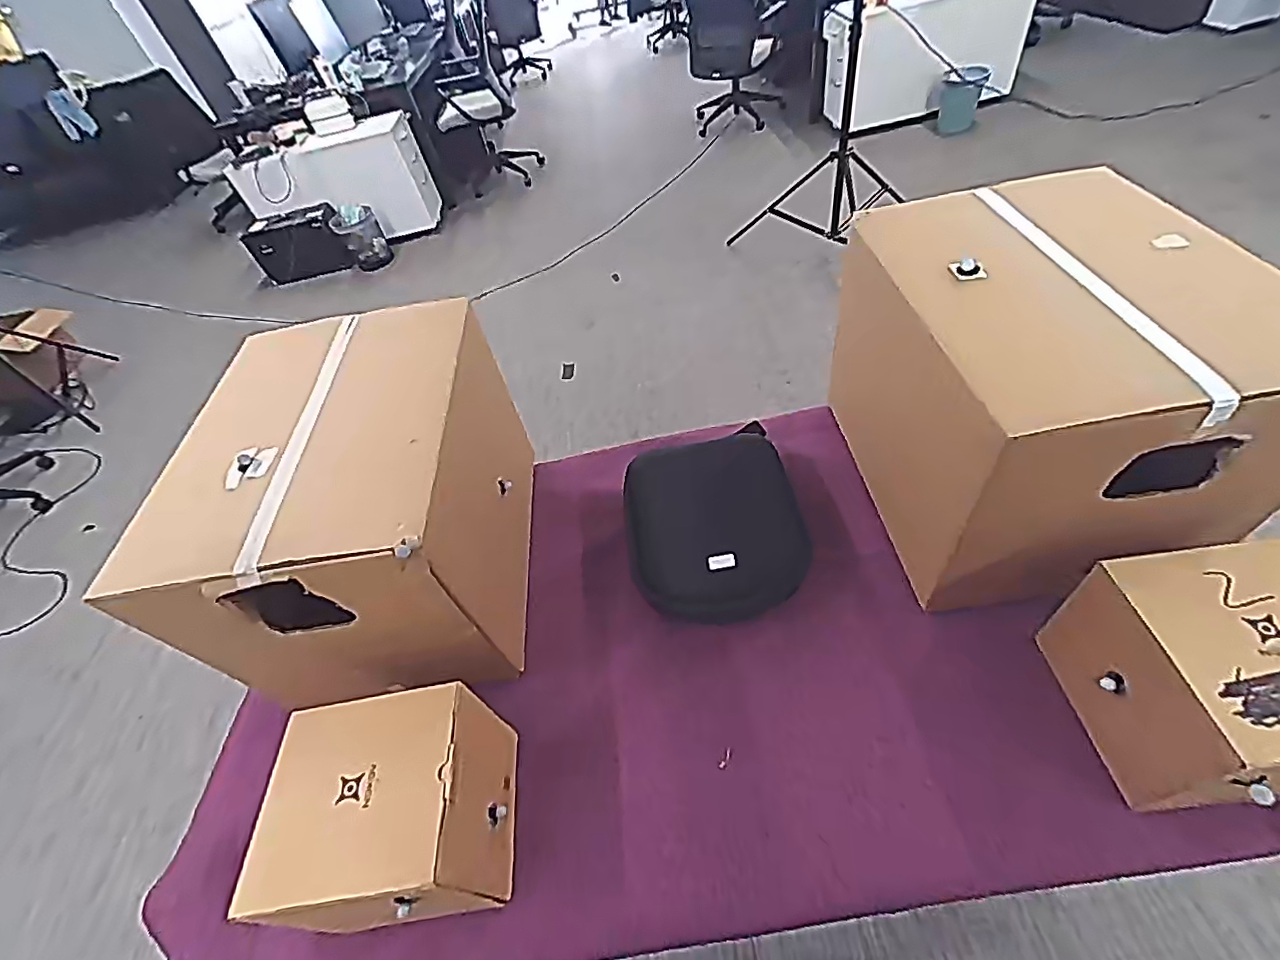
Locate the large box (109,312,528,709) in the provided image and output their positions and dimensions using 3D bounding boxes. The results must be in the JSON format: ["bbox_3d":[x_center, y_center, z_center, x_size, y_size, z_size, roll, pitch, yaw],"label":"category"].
[{"bbox_3d":[-0.341,0.040,0.726,0.320,0.320,0.408,-10,51,3],"label":"large box"}]

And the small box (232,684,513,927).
[{"bbox_3d":[-0.245,0.333,0.548,0.179,0.176,0.168,-12,47,2],"label":"small box"}]
